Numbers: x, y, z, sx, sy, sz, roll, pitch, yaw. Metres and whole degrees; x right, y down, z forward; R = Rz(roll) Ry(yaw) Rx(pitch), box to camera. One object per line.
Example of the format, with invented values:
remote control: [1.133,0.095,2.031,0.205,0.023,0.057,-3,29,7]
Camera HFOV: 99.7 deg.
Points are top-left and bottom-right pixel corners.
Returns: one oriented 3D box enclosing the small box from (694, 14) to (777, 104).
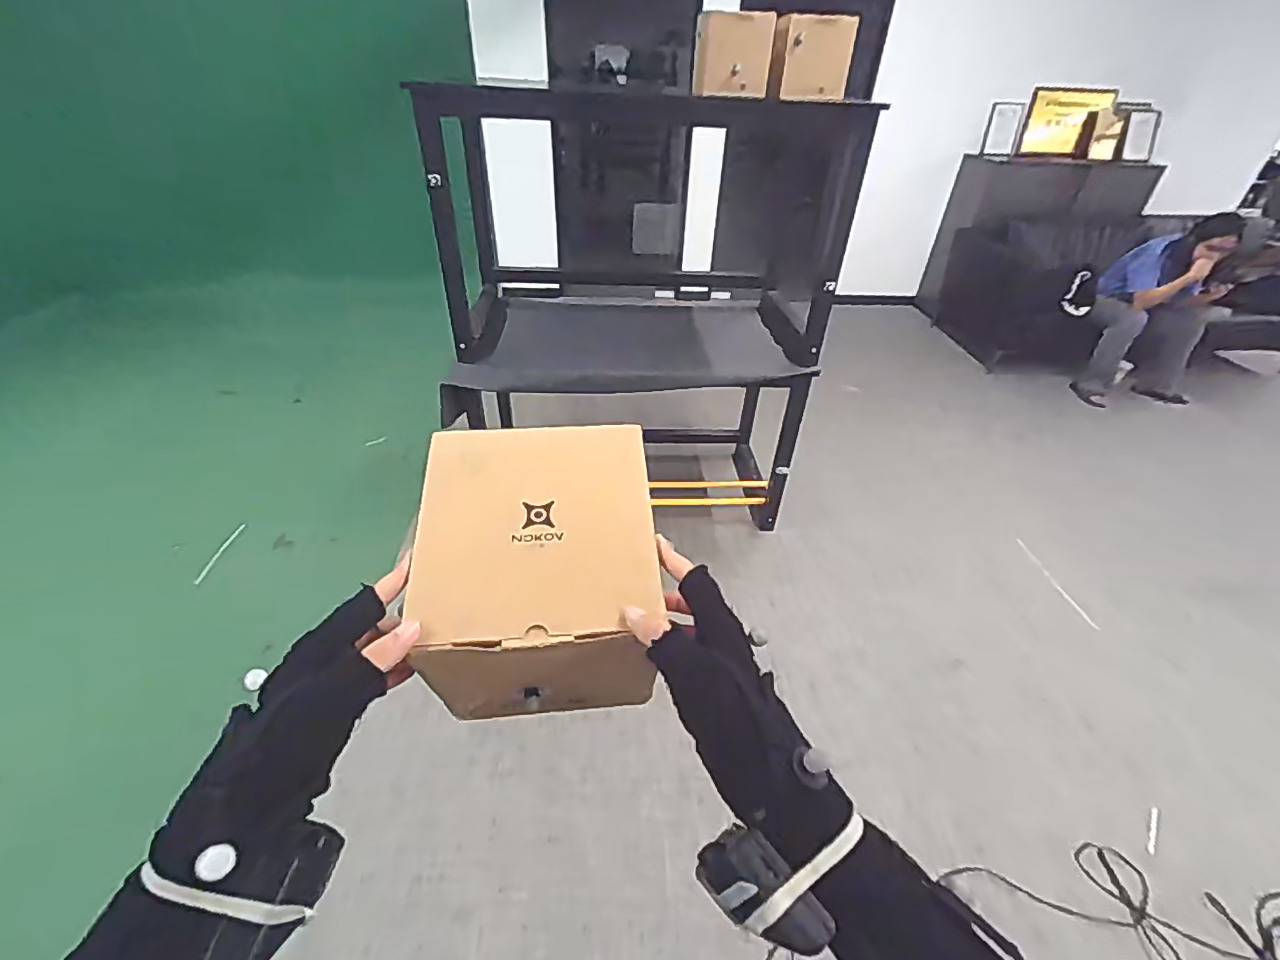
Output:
small box: [0.239,-1.089,1.407,0.168,0.176,0.179,-1,37,-5]
